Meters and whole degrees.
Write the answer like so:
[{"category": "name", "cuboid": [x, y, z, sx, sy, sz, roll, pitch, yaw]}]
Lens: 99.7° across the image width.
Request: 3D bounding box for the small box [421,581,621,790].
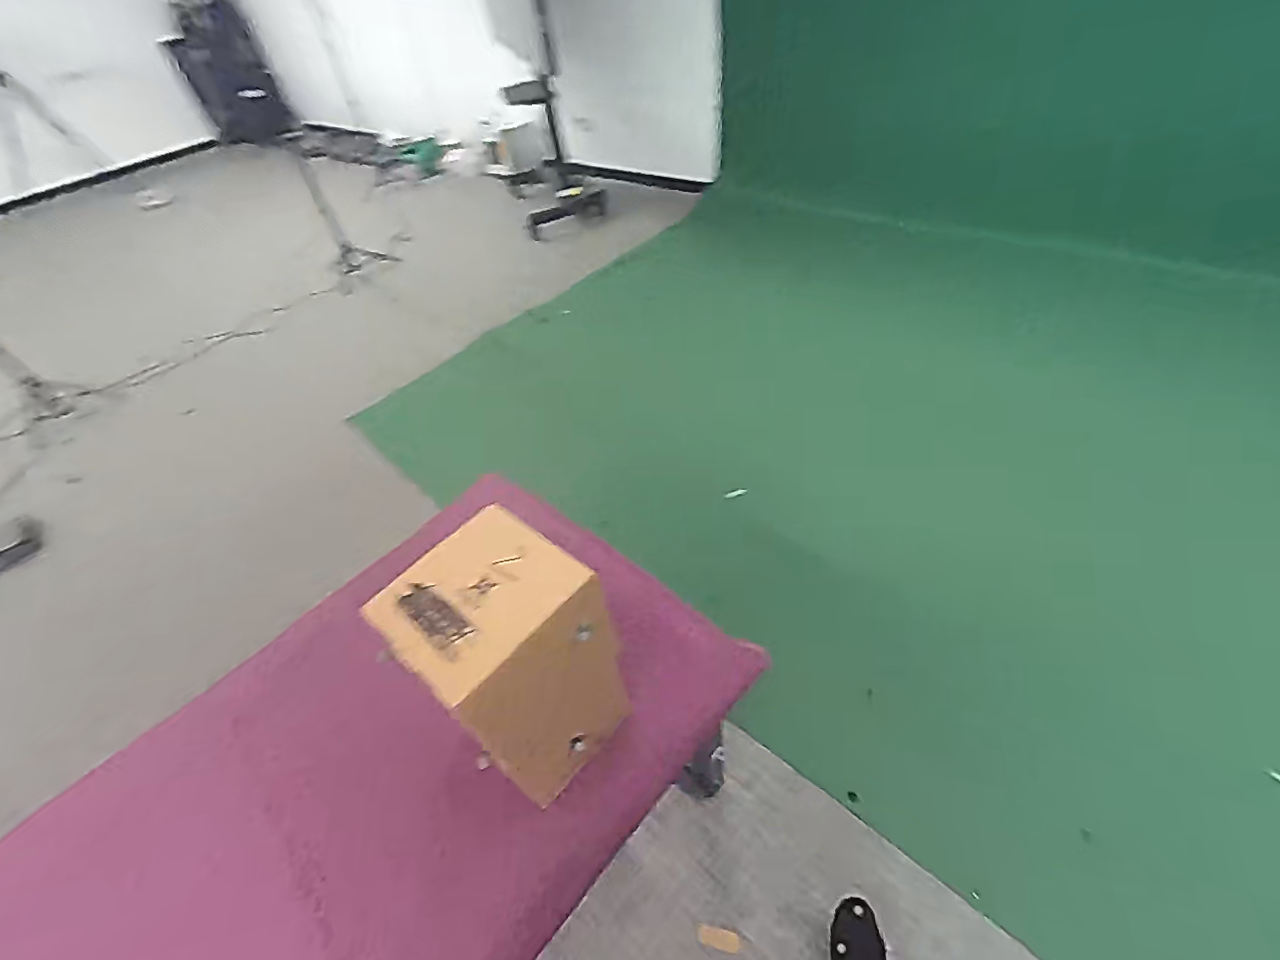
[{"category": "small box", "cuboid": [-0.145, 0.274, 0.713, 0.179, 0.176, 0.168, 30, 58, 33]}]
